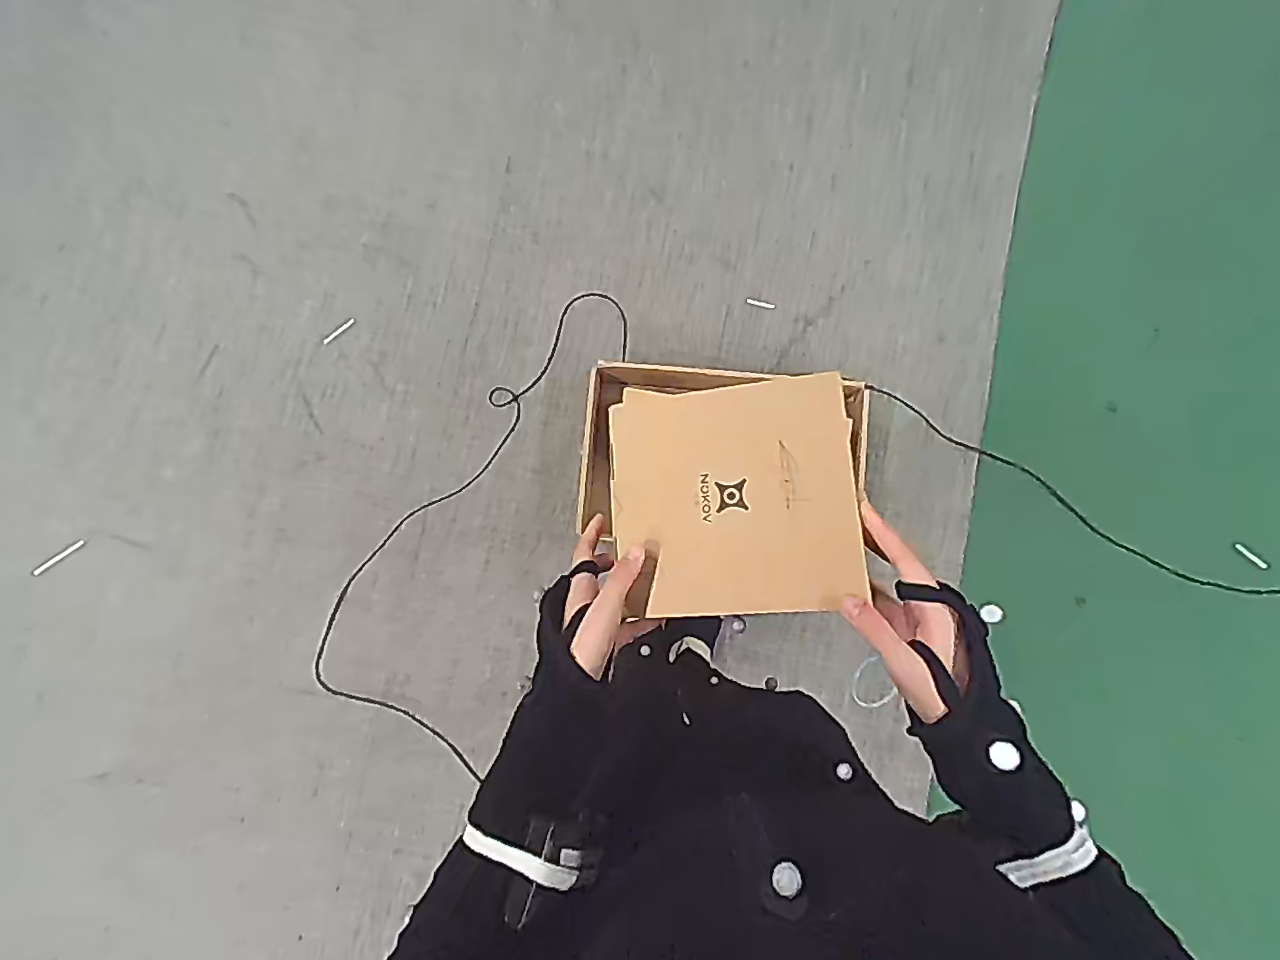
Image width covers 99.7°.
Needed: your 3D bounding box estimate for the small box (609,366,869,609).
[{"bbox_3d":[0.085,0.023,0.458,0.179,0.176,0.168,-6,78,16],"label":"small box"}]
